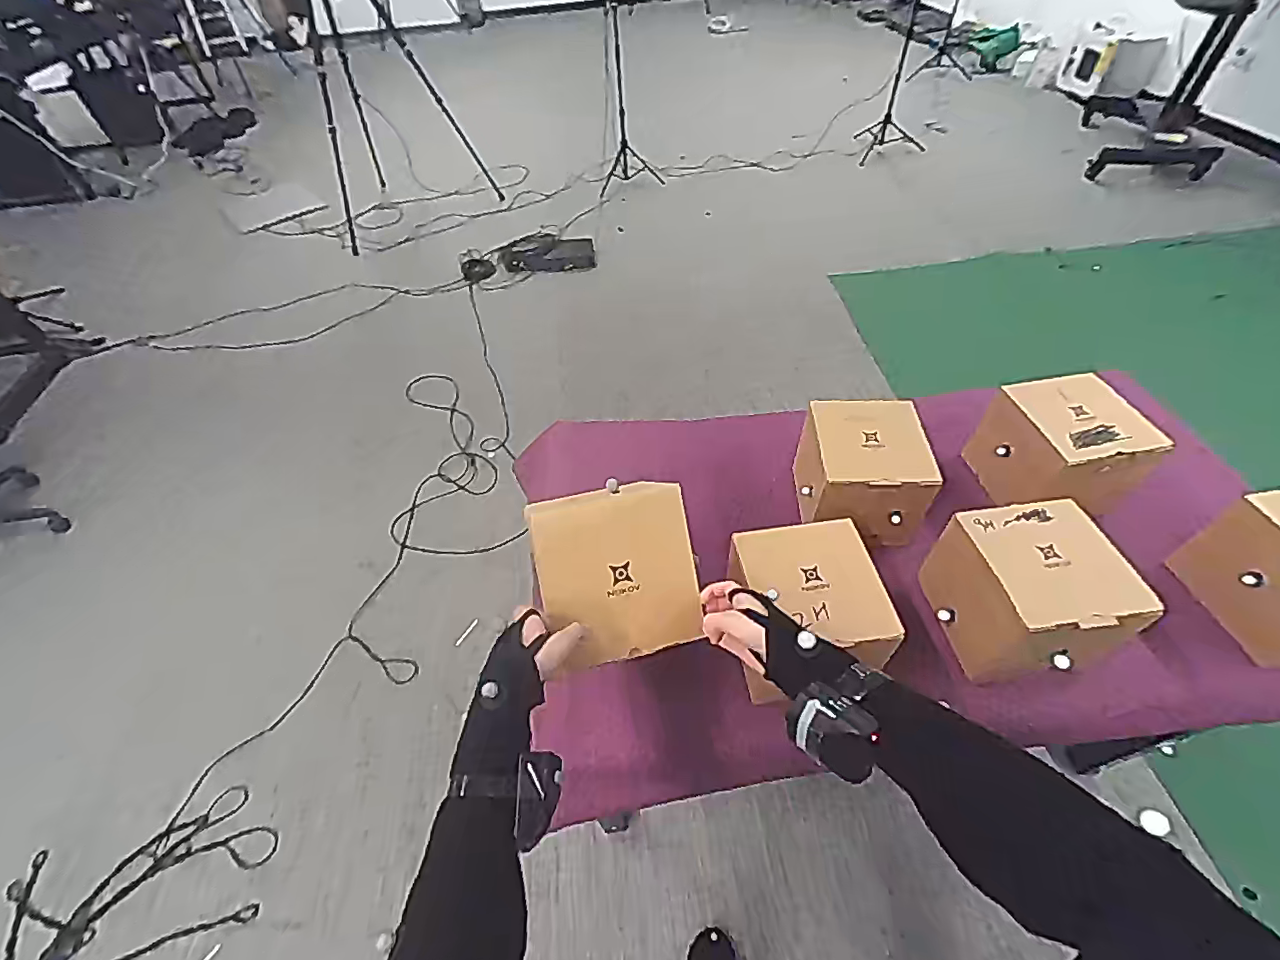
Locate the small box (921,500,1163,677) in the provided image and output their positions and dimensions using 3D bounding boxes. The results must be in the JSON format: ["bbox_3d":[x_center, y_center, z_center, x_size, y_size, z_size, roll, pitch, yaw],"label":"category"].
[{"bbox_3d":[0.516,0.153,0.730,0.168,0.176,0.179,-6,49,-2],"label":"small box"}]

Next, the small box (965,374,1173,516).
[{"bbox_3d":[0.681,-0.046,0.887,0.168,0.176,0.179,-8,49,-3],"label":"small box"}]

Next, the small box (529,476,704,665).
[{"bbox_3d":[-0.038,0.094,0.650,0.168,0.176,0.179,-10,94,-12],"label":"small box"}]

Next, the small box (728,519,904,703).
[{"bbox_3d":[0.219,0.178,0.730,0.168,0.176,0.179,-7,49,-1],"label":"small box"}]

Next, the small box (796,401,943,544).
[{"bbox_3d":[0.358,-0.009,0.881,0.168,0.176,0.179,1,50,4],"label":"small box"}]
